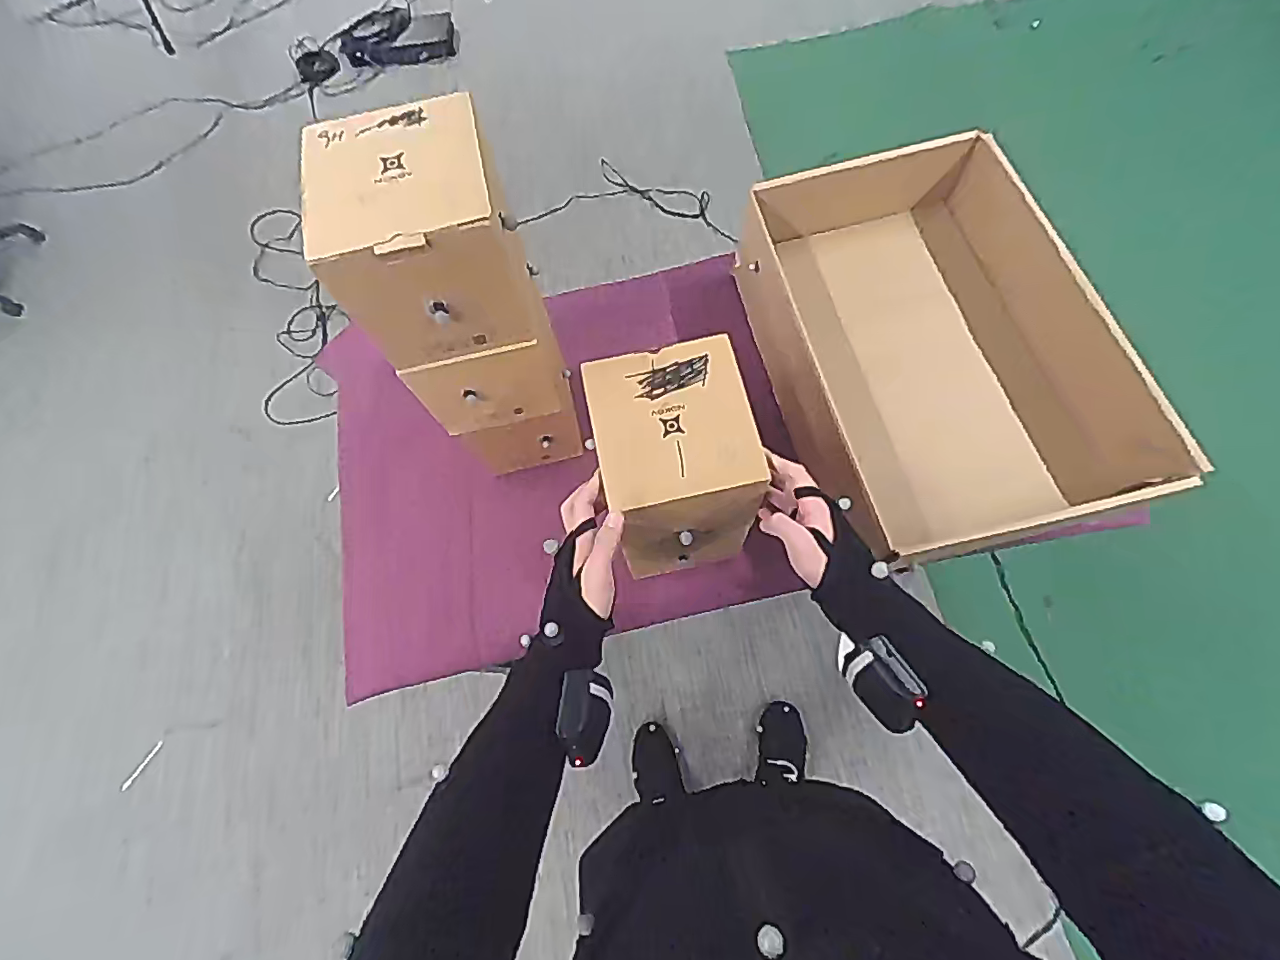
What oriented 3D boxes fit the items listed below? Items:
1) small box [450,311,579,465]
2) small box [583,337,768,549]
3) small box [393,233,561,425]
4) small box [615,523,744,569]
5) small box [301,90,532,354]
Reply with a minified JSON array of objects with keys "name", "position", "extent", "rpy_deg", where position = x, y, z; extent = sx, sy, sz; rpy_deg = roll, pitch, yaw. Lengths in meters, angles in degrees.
[{"name":"small box","position":[-0.199,-0.136,0.867],"extent":[0.168,0.176,0.179],"rpy_deg":[-12,69,-2]},{"name":"small box","position":[0.036,-0.035,0.634],"extent":[0.168,0.176,0.179],"rpy_deg":[-12,69,0]},{"name":"small box","position":[-0.210,-0.188,0.715],"extent":[0.168,0.176,0.179],"rpy_deg":[-13,69,-1]},{"name":"small box","position":[0.044,0.024,0.786],"extent":[0.168,0.176,0.179],"rpy_deg":[-12,69,-1]},{"name":"small box","position":[-0.220,-0.250,0.563],"extent":[0.168,0.176,0.179],"rpy_deg":[-13,70,-2]}]
